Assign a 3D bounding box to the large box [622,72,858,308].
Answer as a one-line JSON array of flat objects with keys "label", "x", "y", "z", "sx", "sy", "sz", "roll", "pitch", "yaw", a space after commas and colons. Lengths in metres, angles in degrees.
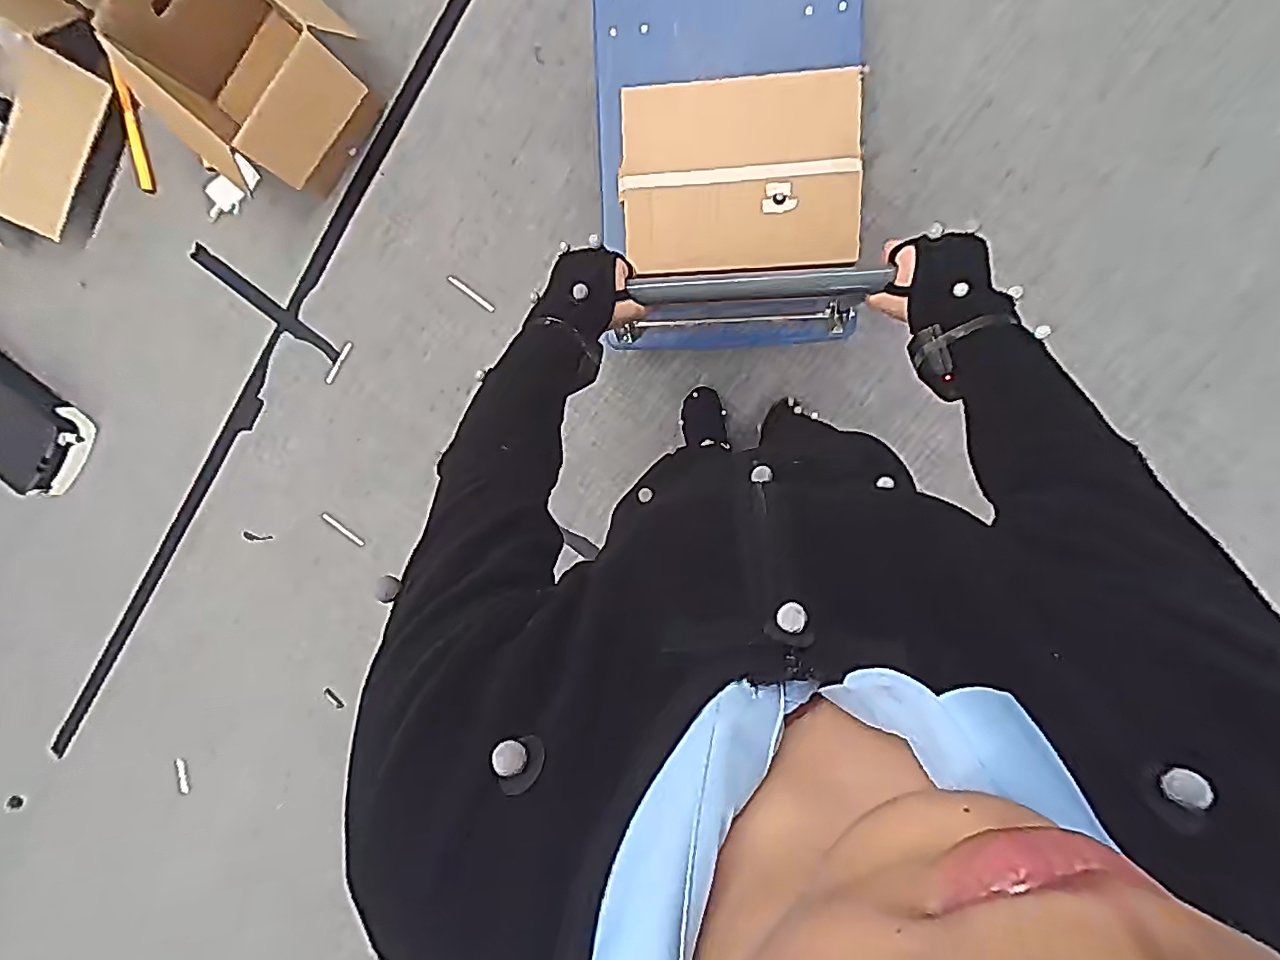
[{"label": "large box", "x": 0.184, "y": -0.541, "z": 1.084, "sx": 0.408, "sy": 0.320, "sz": 0.320, "roll": -1, "pitch": 98, "yaw": 5}]
